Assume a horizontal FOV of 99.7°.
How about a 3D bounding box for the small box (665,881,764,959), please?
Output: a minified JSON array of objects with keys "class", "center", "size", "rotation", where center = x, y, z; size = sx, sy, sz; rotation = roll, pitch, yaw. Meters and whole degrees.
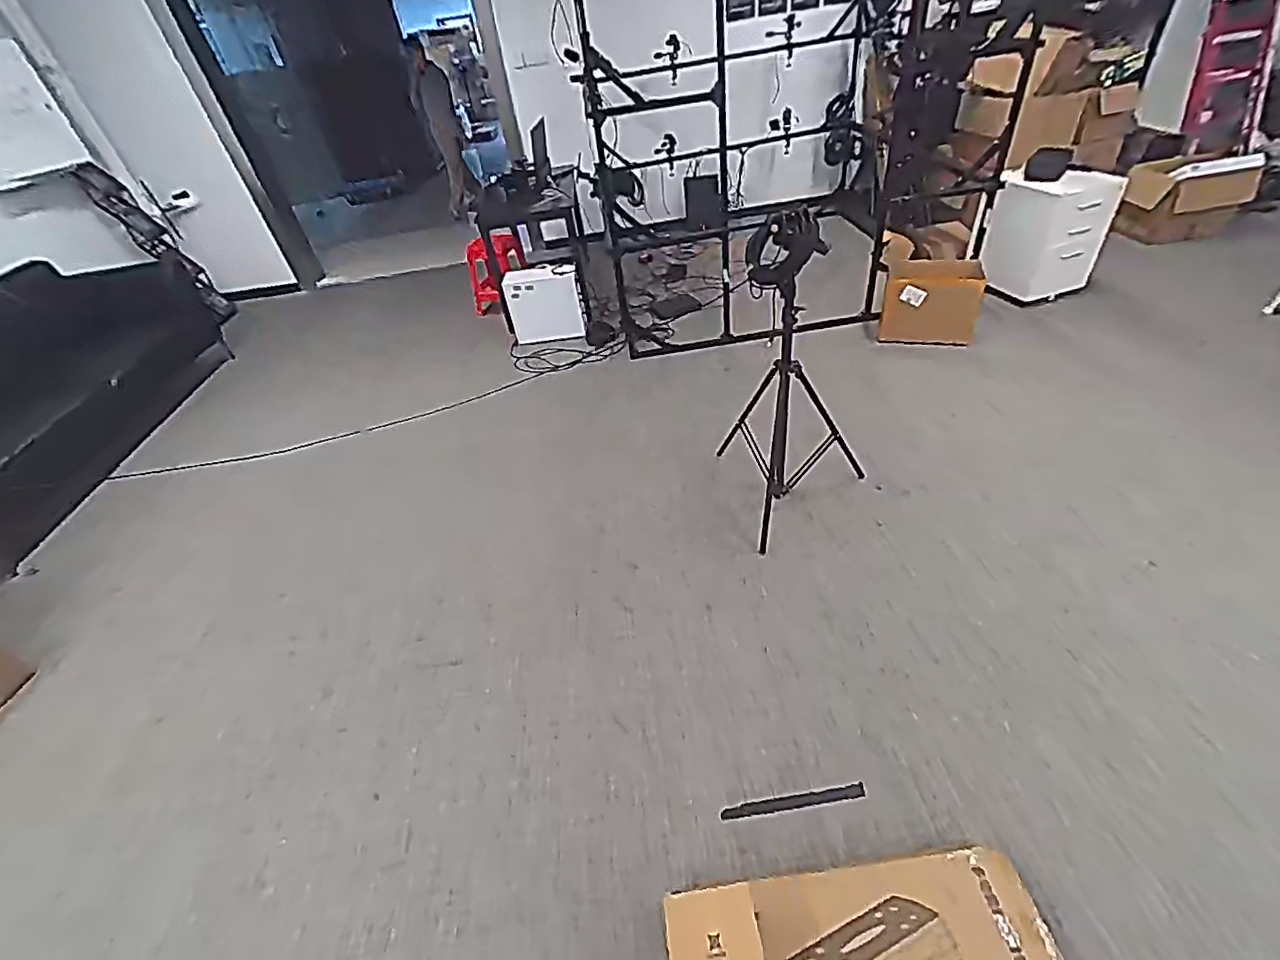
[{"class":"small box","center":[0.141,0.886,1.008],"size":[0.168,0.176,0.179],"rotation":[-9,40,0]}]
